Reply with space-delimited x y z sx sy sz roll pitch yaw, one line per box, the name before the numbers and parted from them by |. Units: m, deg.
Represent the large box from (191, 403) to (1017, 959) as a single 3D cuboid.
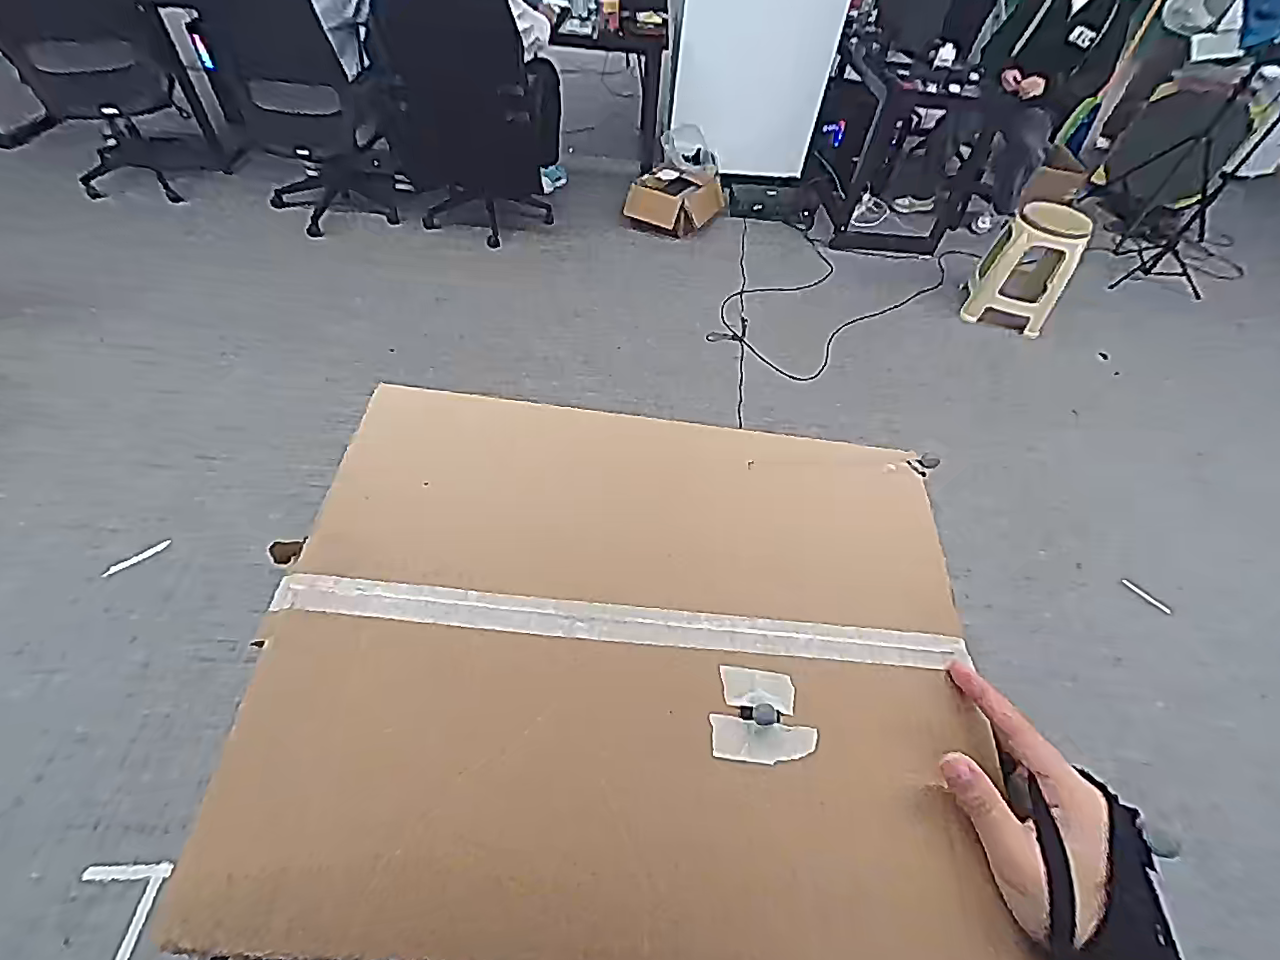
large box | -0.018 0.170 0.458 0.408 0.320 0.320 7 59 -5
